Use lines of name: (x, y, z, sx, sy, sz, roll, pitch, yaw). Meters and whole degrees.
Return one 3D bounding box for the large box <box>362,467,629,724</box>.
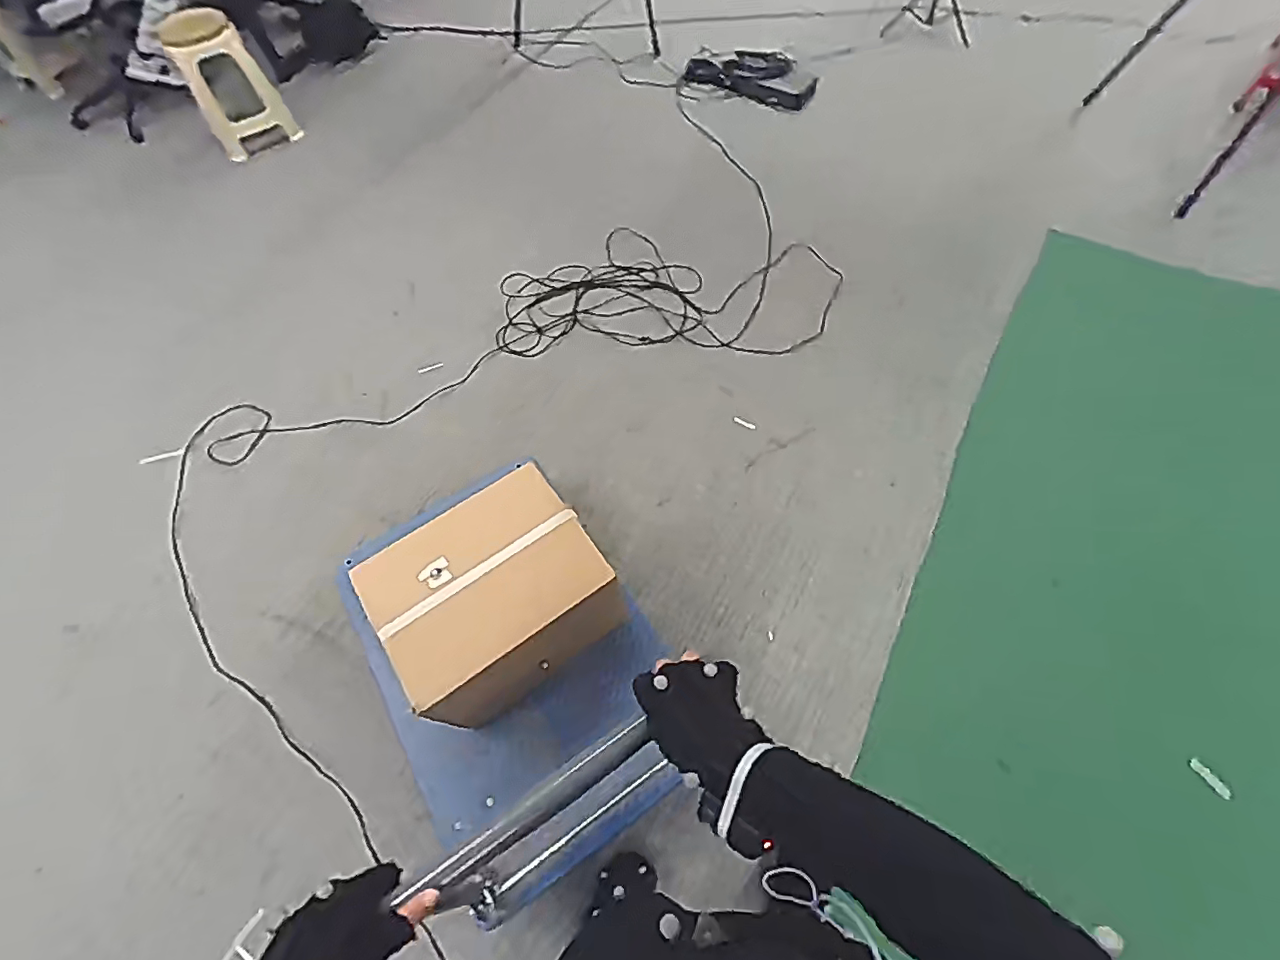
large box: (-0.278, 0.252, 1.150, 0.408, 0.320, 0.320, -34, 64, -14)
